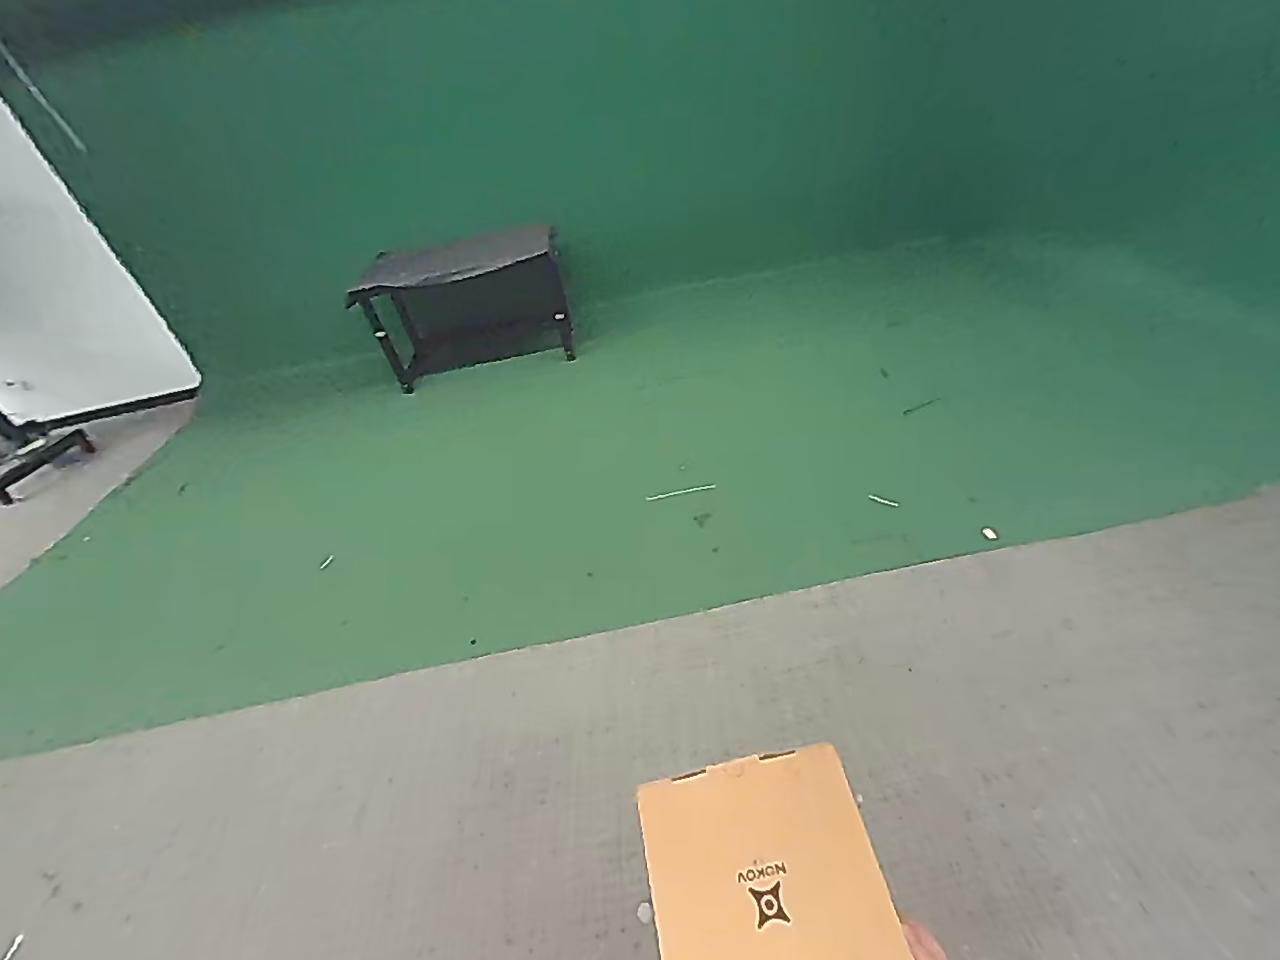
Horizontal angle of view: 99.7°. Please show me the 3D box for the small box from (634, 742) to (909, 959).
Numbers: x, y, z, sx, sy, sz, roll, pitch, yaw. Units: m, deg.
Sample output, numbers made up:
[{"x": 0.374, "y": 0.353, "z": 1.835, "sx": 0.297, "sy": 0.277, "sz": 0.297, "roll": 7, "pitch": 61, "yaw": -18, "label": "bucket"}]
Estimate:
[{"x": 0.101, "y": 0.341, "z": 0.441, "sx": 0.168, "sy": 0.176, "sz": 0.179, "roll": -14, "pitch": 50, "yaw": 1, "label": "small box"}]
